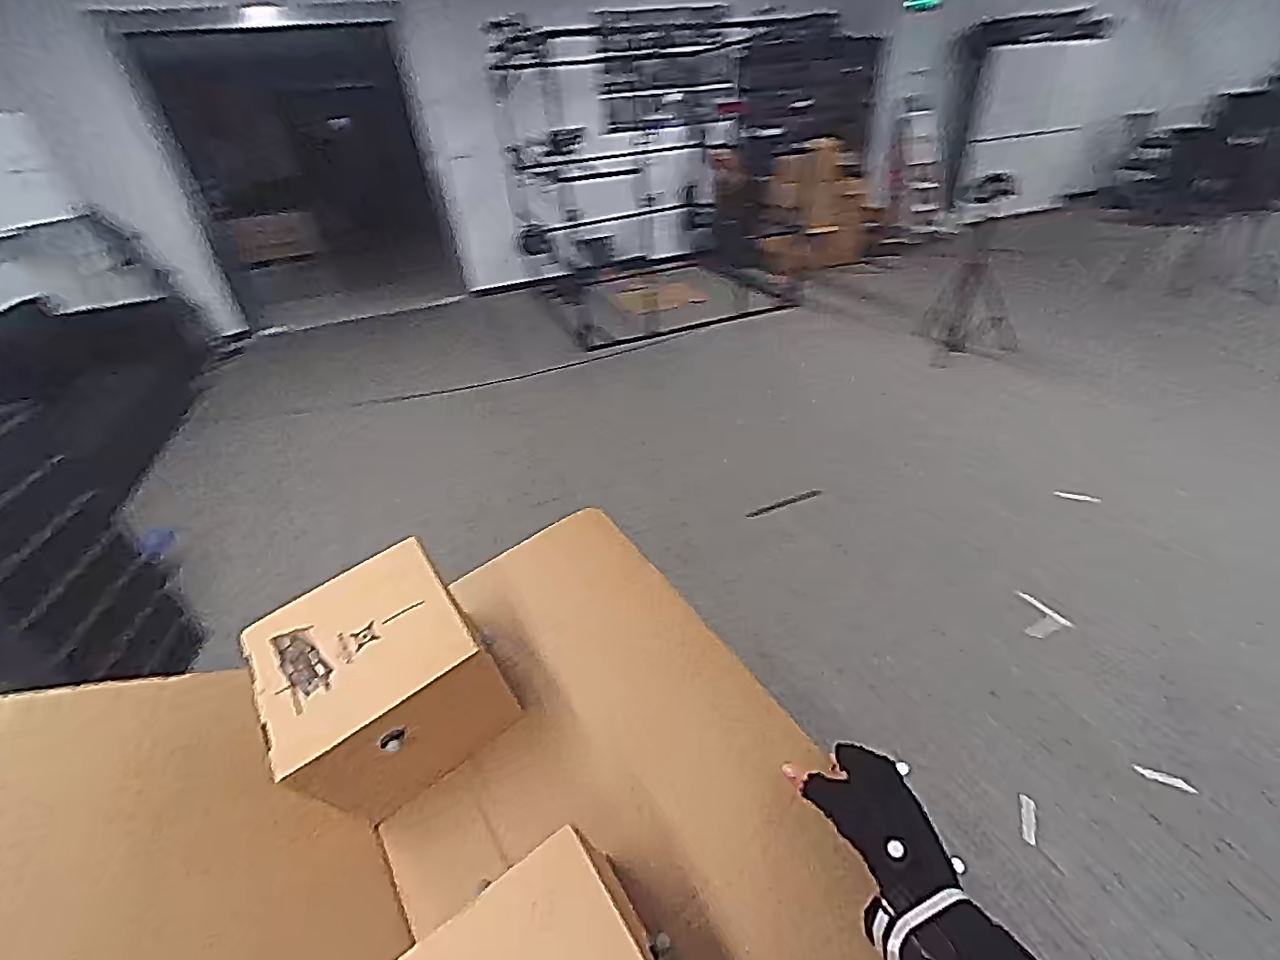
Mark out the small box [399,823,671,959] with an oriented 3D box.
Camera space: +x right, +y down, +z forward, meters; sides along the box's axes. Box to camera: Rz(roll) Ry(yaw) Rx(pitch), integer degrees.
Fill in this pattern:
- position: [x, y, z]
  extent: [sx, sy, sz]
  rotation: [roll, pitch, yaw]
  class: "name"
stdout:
- position: [-0.059, 0.387, 0.382]
  extent: [0.179, 0.176, 0.168]
  rotation: [-31, 52, -18]
  class: "small box"
